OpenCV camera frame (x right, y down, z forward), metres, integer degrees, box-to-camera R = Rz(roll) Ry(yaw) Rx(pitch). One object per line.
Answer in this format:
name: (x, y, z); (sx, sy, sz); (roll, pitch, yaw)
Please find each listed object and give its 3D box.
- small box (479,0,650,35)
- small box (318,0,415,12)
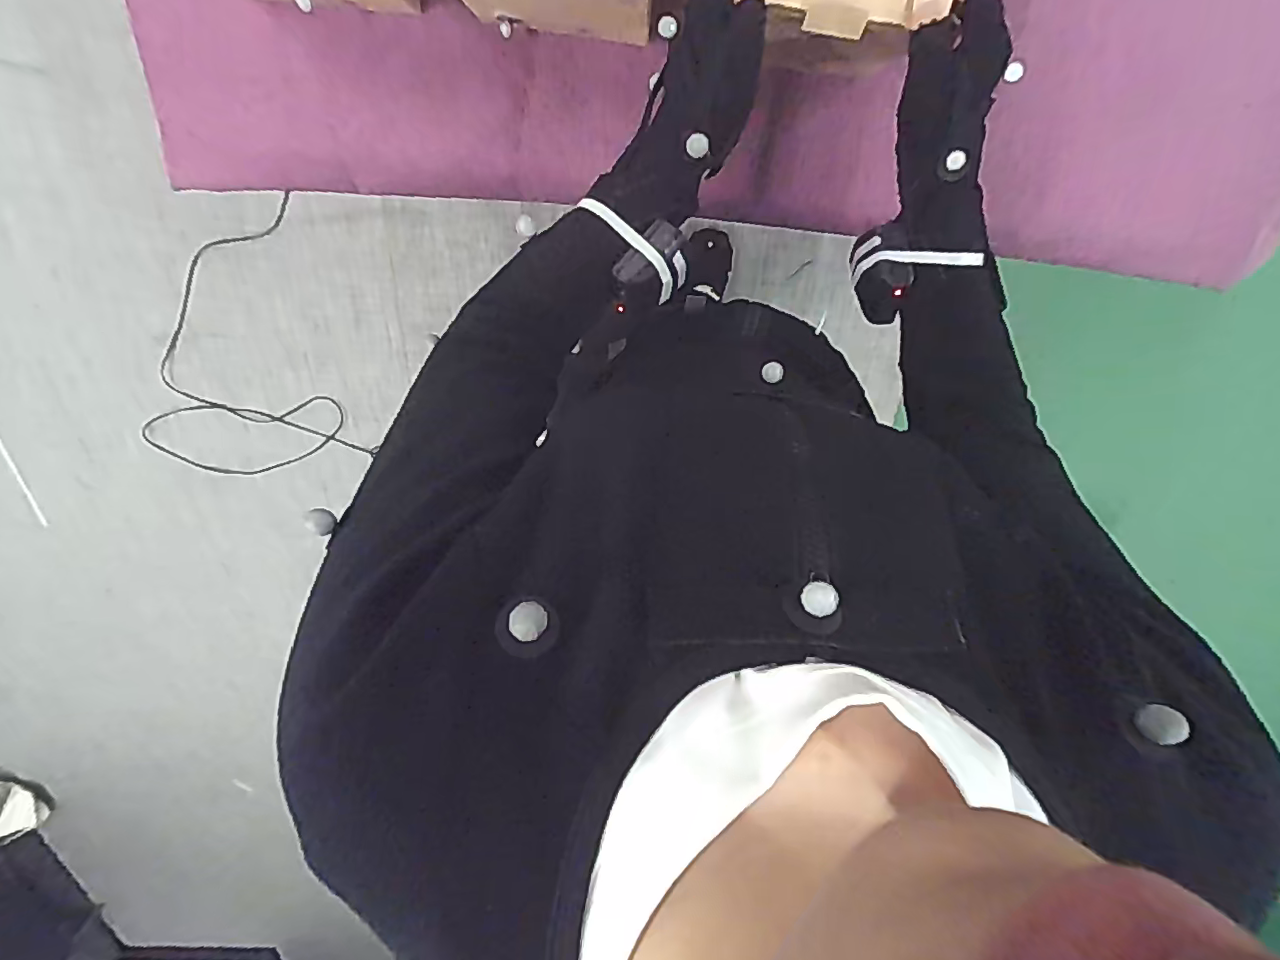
small box: (-0.066, -0.480, 0.420); (0.168, 0.176, 0.179); (6, 117, -3)
small box: (-0.285, -0.499, 0.408); (0.168, 0.176, 0.179); (5, 118, -2)
